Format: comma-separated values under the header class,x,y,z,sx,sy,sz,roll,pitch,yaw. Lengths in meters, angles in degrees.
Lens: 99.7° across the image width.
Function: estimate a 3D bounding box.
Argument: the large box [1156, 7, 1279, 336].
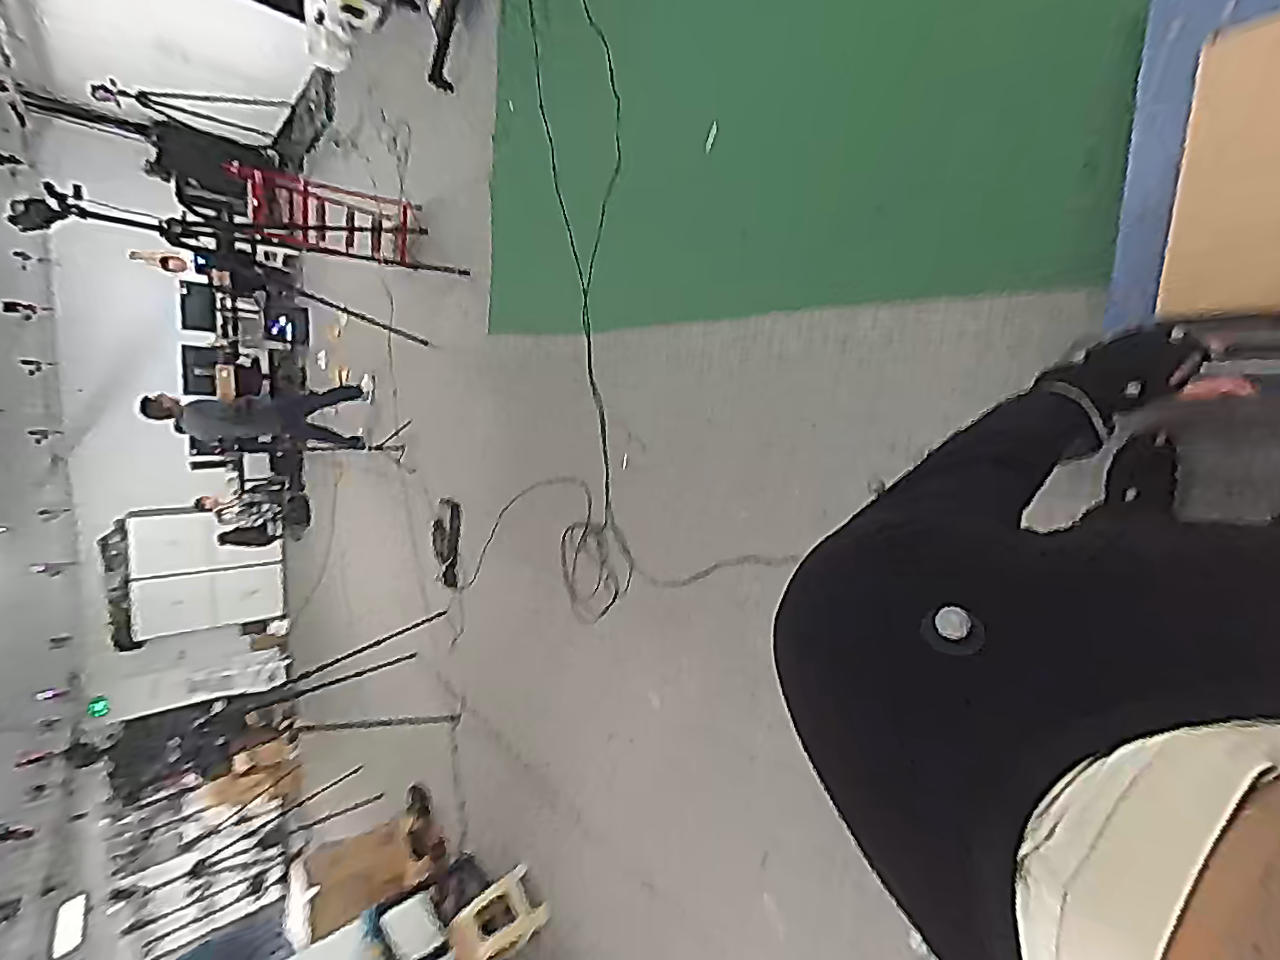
class,x,y,z,sx,sy,sz,roll,pitch,yaw
large box,1.033,-0.453,0.818,0.320,0.320,0.408,10,100,46
